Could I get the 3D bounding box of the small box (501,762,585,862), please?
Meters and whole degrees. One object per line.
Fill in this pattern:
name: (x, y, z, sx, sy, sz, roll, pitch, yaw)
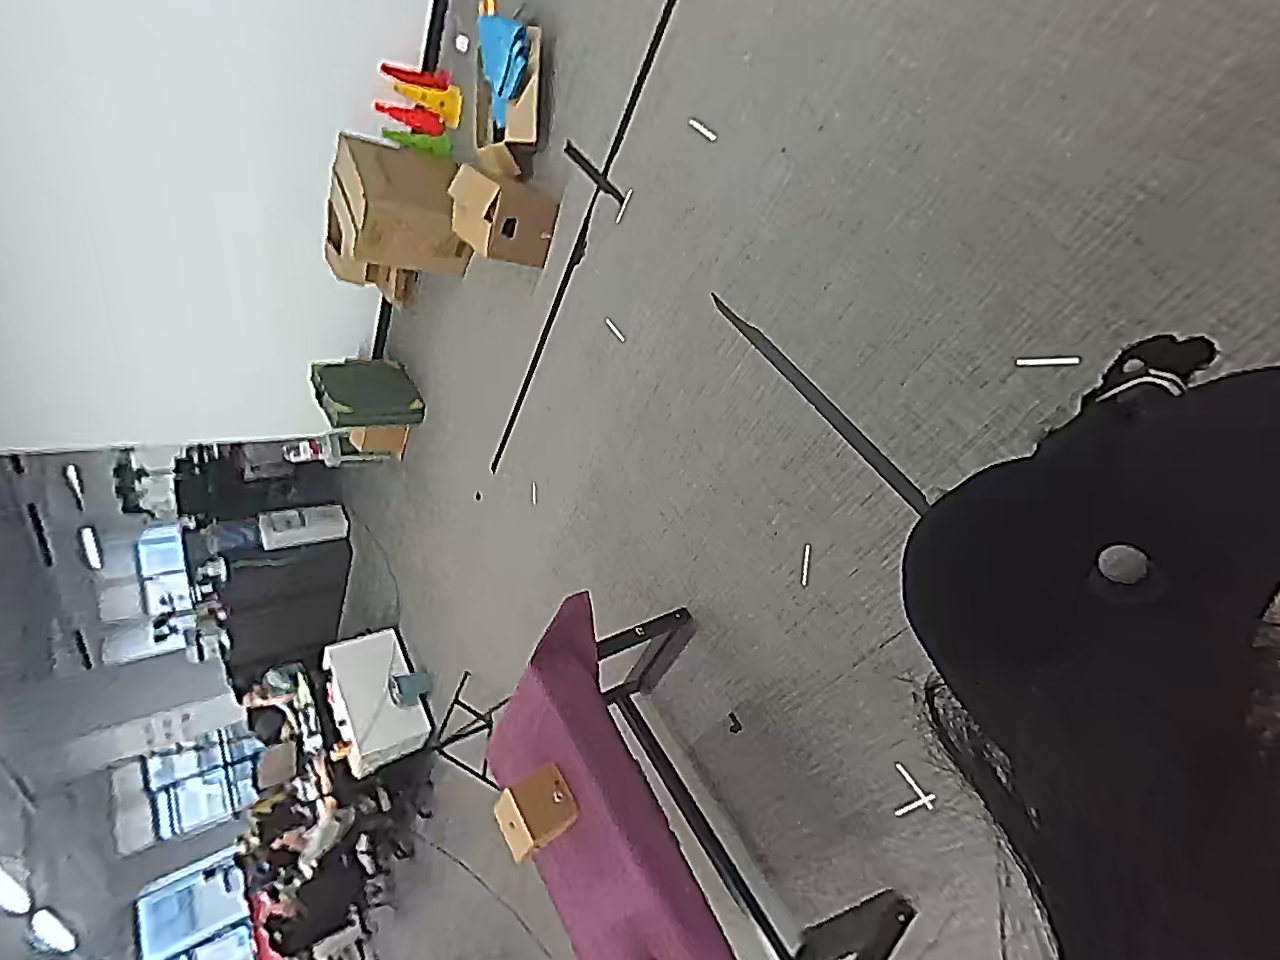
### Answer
small box: (-0.289, 0.991, 1.620, 0.168, 0.176, 0.179, 49, 129, 30)
